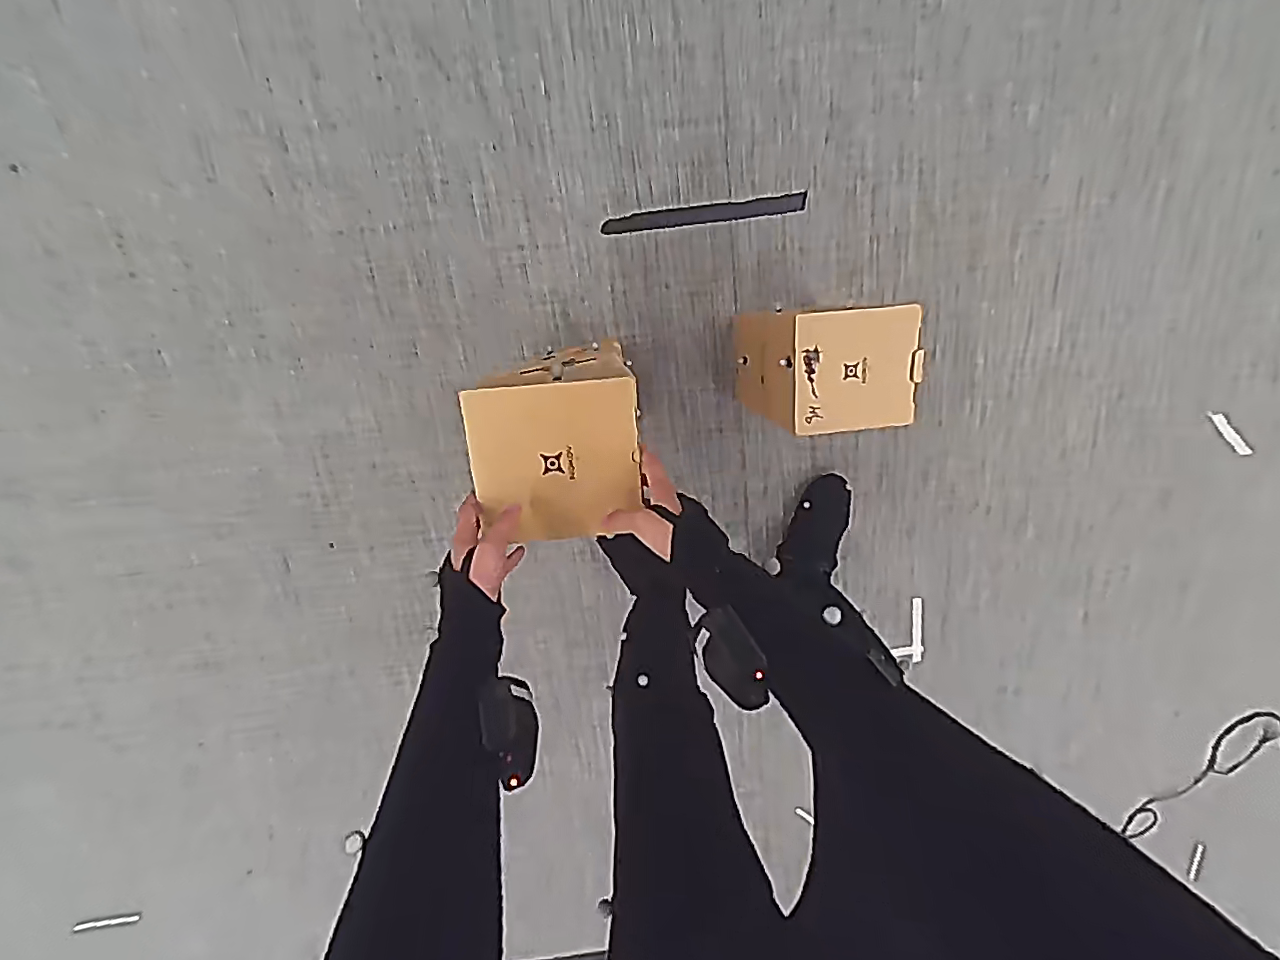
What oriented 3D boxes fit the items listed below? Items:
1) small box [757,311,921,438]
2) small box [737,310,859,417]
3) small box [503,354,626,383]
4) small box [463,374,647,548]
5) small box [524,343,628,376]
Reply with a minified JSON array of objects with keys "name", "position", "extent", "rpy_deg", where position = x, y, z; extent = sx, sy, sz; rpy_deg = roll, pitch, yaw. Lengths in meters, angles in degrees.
[{"name":"small box","position":[0.288,-0.166,0.817],"extent":[0.179,0.176,0.168],"rpy_deg":[-5,107,-4]},{"name":"small box","position":[0.275,-0.213,0.974],"extent":[0.179,0.176,0.168],"rpy_deg":[-6,108,-3]},{"name":"small box","position":[-0.094,-0.089,0.811],"extent":[0.168,0.176,0.179],"rpy_deg":[-11,108,0]},{"name":"small box","position":[-0.089,-0.032,0.631],"extent":[0.179,0.176,0.168],"rpy_deg":[-5,105,-4]},{"name":"small box","position":[-0.099,-0.143,0.966],"extent":[0.168,0.176,0.179],"rpy_deg":[-13,108,0]}]
